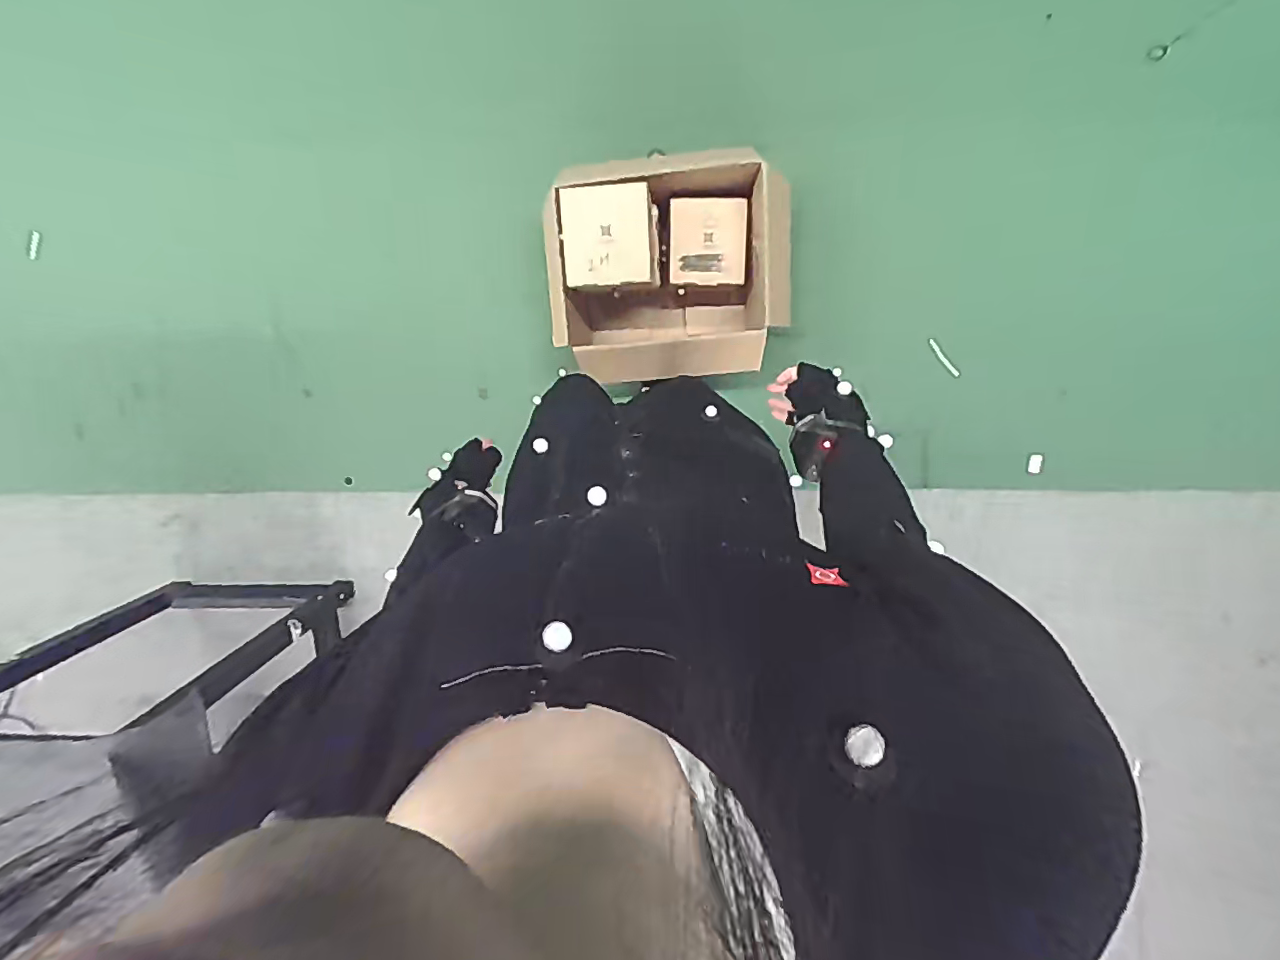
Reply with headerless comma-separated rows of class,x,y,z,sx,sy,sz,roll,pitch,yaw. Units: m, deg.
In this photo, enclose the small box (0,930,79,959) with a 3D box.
small box,-1.154,0.950,0.964,0.179,0.176,0.168,-1,103,5
